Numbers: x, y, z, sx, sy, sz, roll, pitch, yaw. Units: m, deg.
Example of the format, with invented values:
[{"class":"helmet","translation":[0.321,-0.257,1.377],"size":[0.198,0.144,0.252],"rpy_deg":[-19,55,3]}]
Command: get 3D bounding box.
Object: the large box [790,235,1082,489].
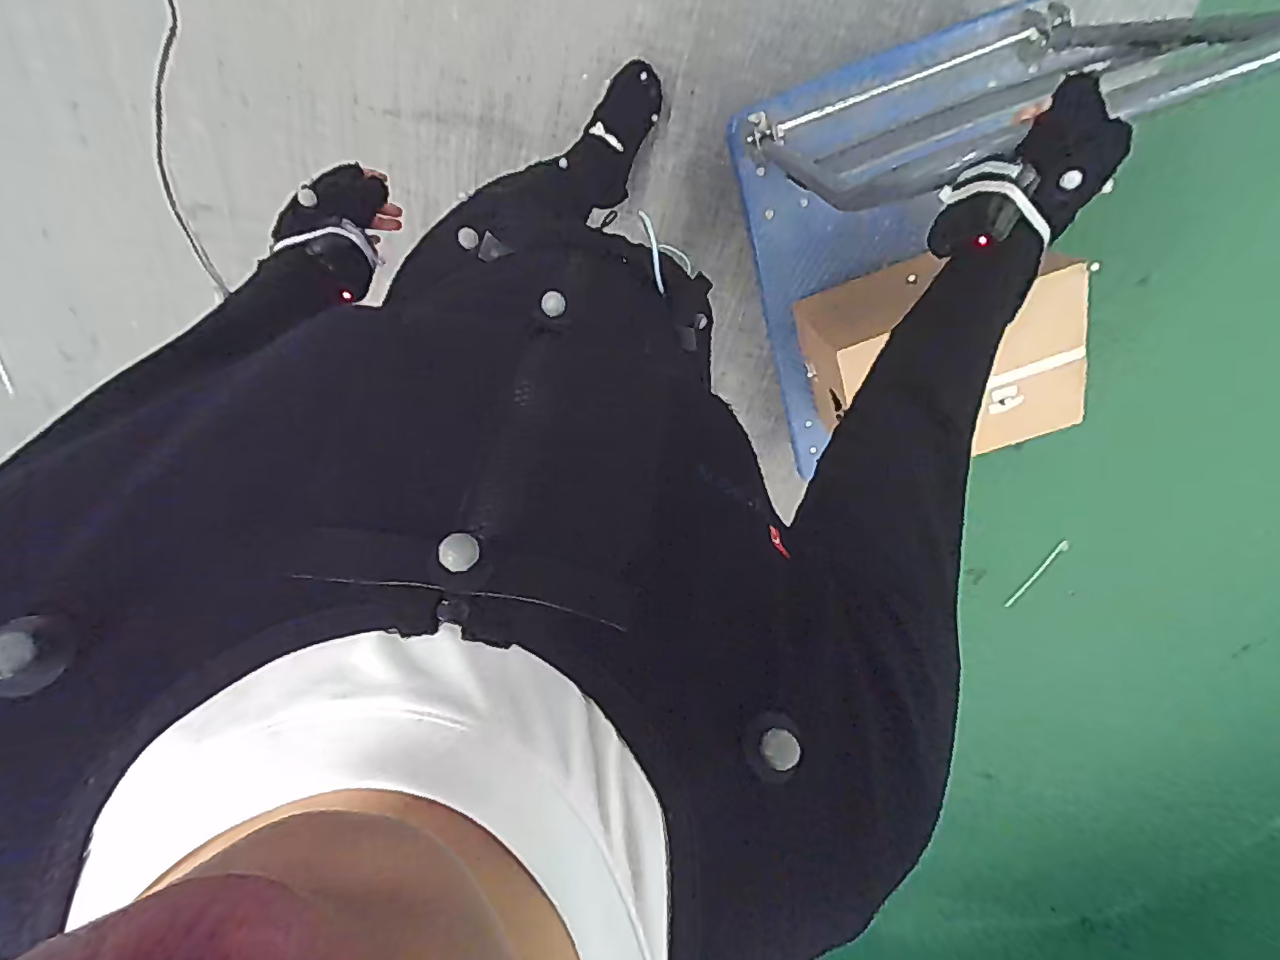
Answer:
[{"class":"large box","translation":[0.568,-0.243,1.092],"size":[0.408,0.320,0.320],"rpy_deg":[-20,122,11]}]
